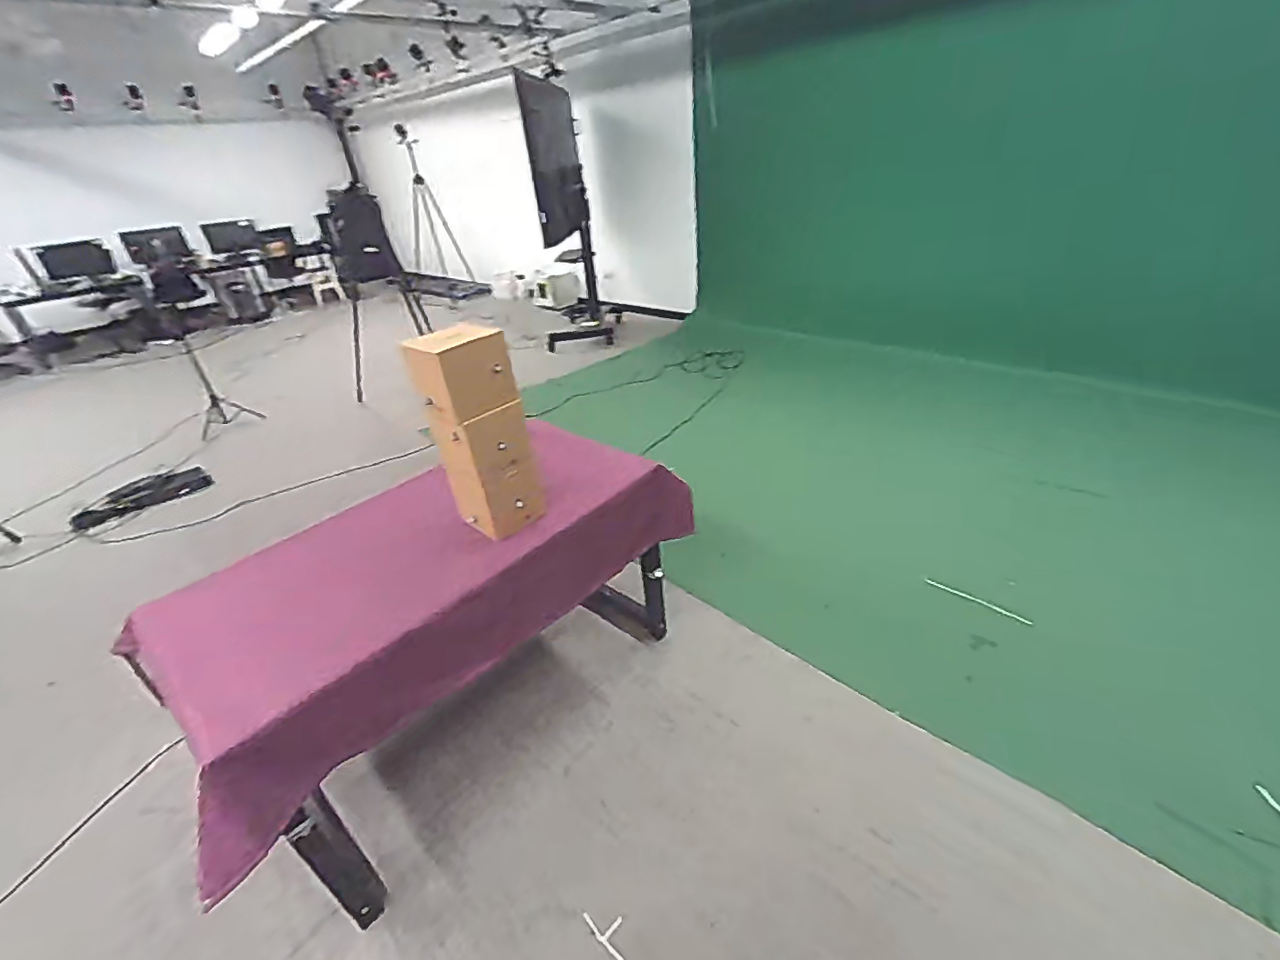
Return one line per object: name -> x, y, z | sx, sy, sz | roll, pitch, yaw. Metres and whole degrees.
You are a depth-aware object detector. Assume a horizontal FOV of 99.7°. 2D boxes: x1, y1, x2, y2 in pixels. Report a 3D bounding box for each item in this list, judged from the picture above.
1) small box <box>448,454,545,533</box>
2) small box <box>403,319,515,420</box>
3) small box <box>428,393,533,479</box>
small box -> -0.371, 0.018, 1.425 | 0.179, 0.176, 0.168 | 23, 41, 37
small box -> -0.409, -0.259, 1.252 | 0.168, 0.176, 0.179 | 21, 41, 38
small box -> -0.388, -0.120, 1.337 | 0.179, 0.176, 0.168 | 22, 41, 37
